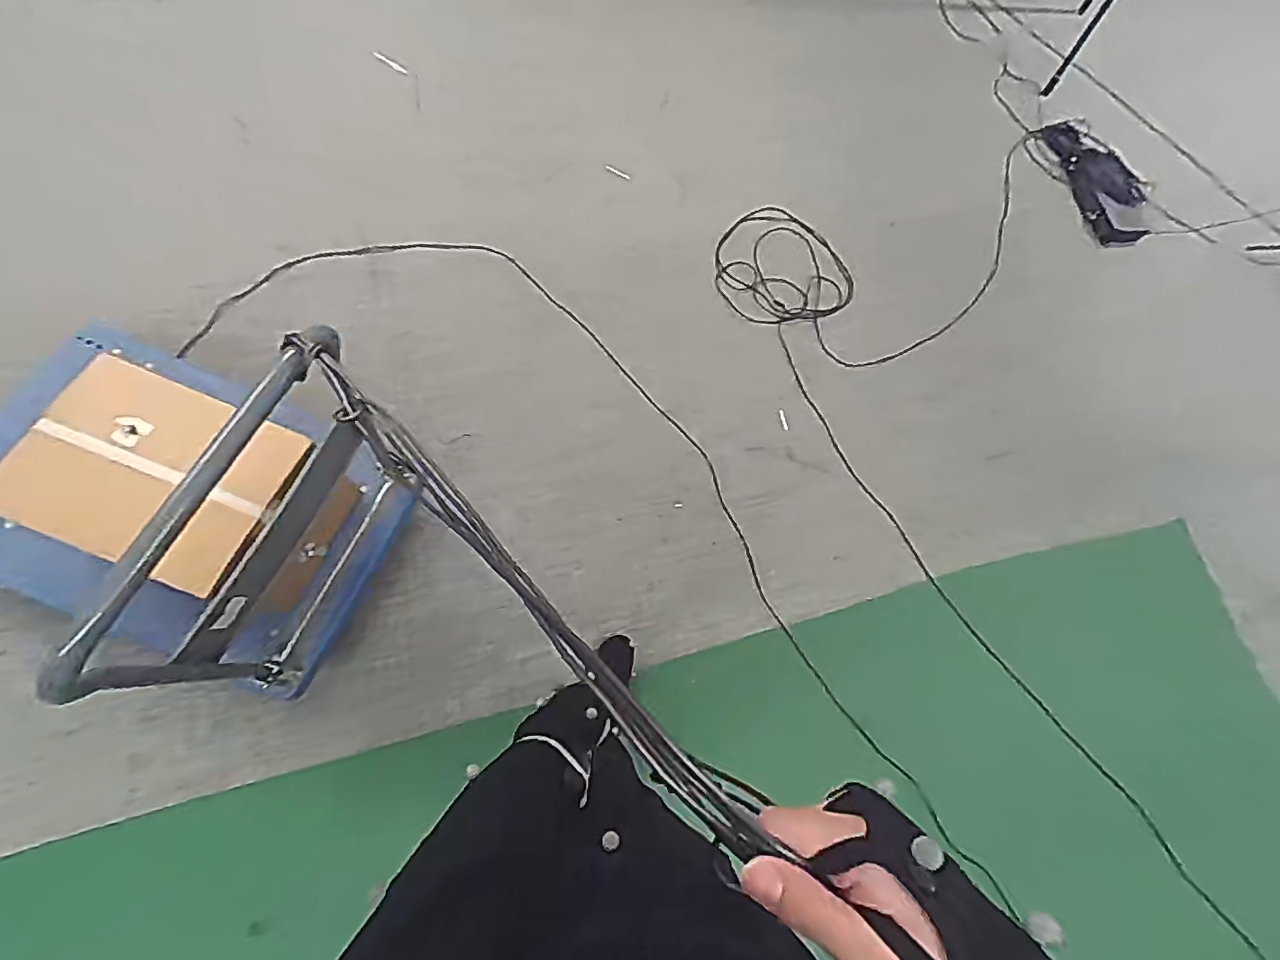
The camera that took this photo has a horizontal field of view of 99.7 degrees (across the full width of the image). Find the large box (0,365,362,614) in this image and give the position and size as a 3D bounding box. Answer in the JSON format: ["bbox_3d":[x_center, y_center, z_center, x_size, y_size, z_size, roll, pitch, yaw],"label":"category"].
[{"bbox_3d":[-0.854,0.043,1.067,0.408,0.320,0.320,23,68,-1],"label":"large box"}]
